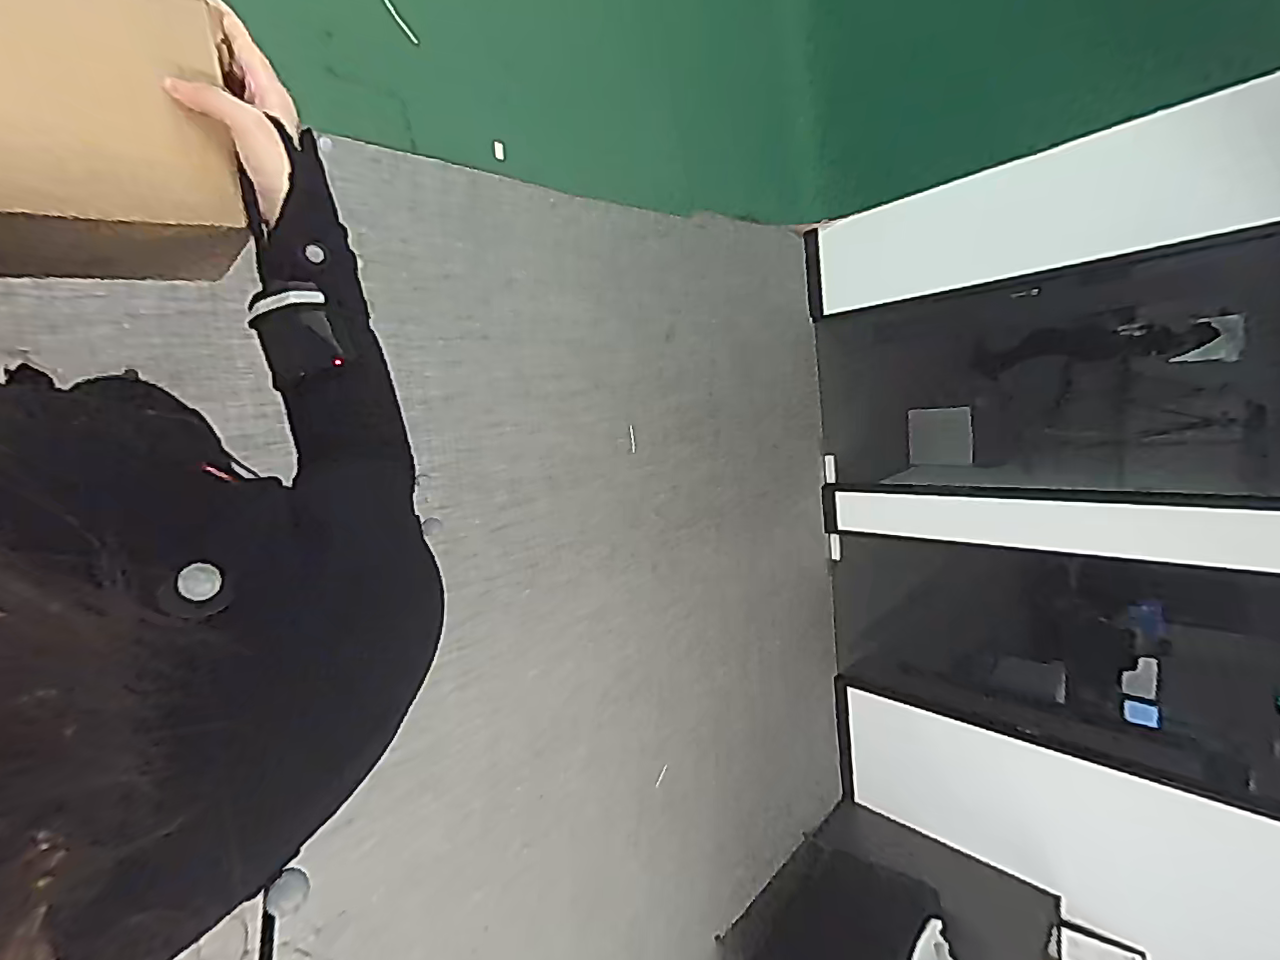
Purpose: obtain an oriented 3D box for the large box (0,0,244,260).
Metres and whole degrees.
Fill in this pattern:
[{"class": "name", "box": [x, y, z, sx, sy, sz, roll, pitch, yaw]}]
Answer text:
[{"class": "large box", "box": [-0.563, -0.333, 0.372, 0.408, 0.320, 0.320, -16, 109, -37]}]
